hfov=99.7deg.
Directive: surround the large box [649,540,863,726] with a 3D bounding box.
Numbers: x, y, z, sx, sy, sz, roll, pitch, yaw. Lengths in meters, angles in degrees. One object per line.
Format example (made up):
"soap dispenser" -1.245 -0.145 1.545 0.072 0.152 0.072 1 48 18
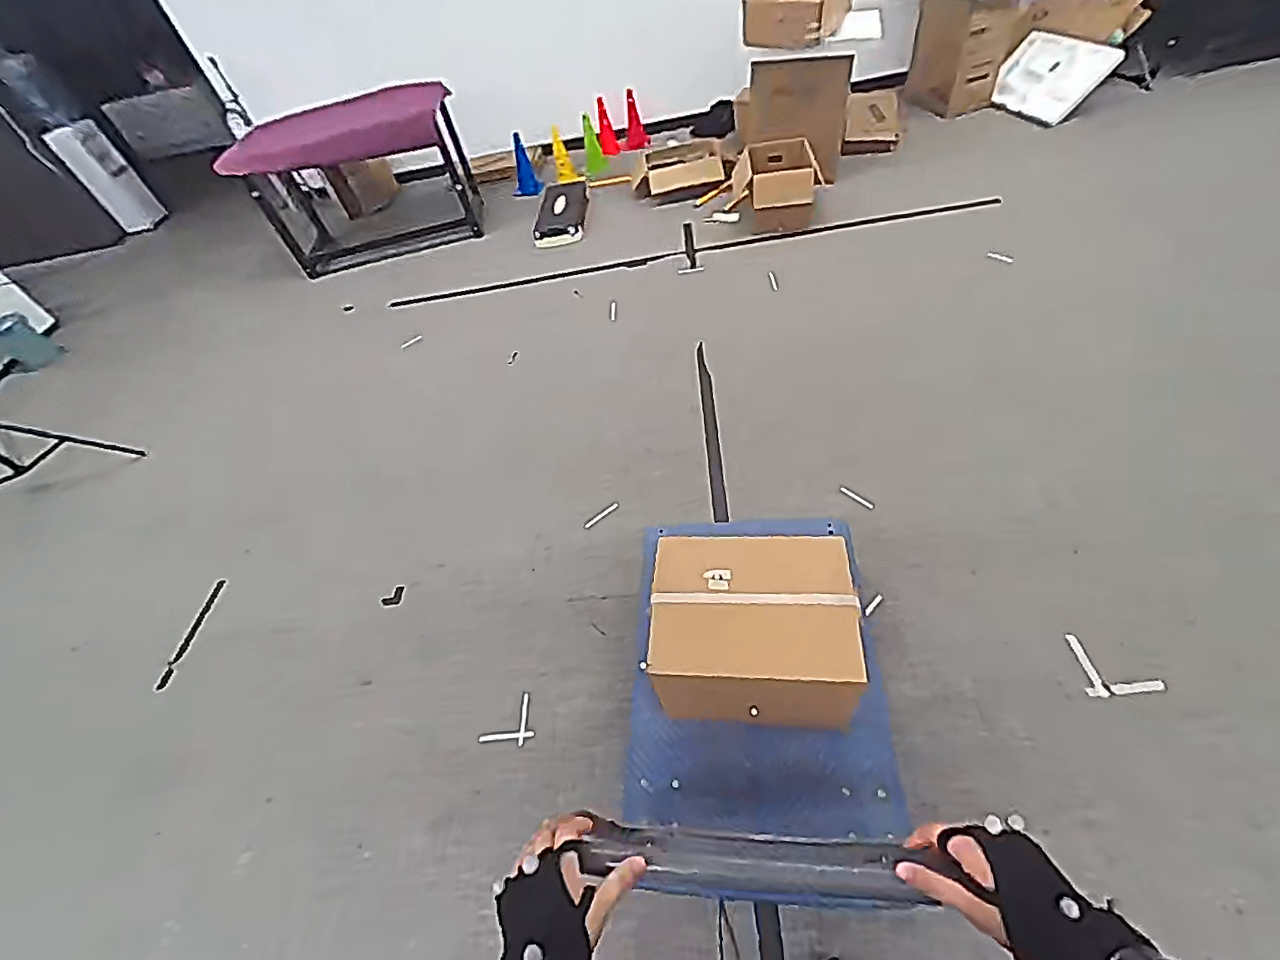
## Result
"large box" 0.253 0.350 1.222 0.408 0.320 0.320 -2 49 12
